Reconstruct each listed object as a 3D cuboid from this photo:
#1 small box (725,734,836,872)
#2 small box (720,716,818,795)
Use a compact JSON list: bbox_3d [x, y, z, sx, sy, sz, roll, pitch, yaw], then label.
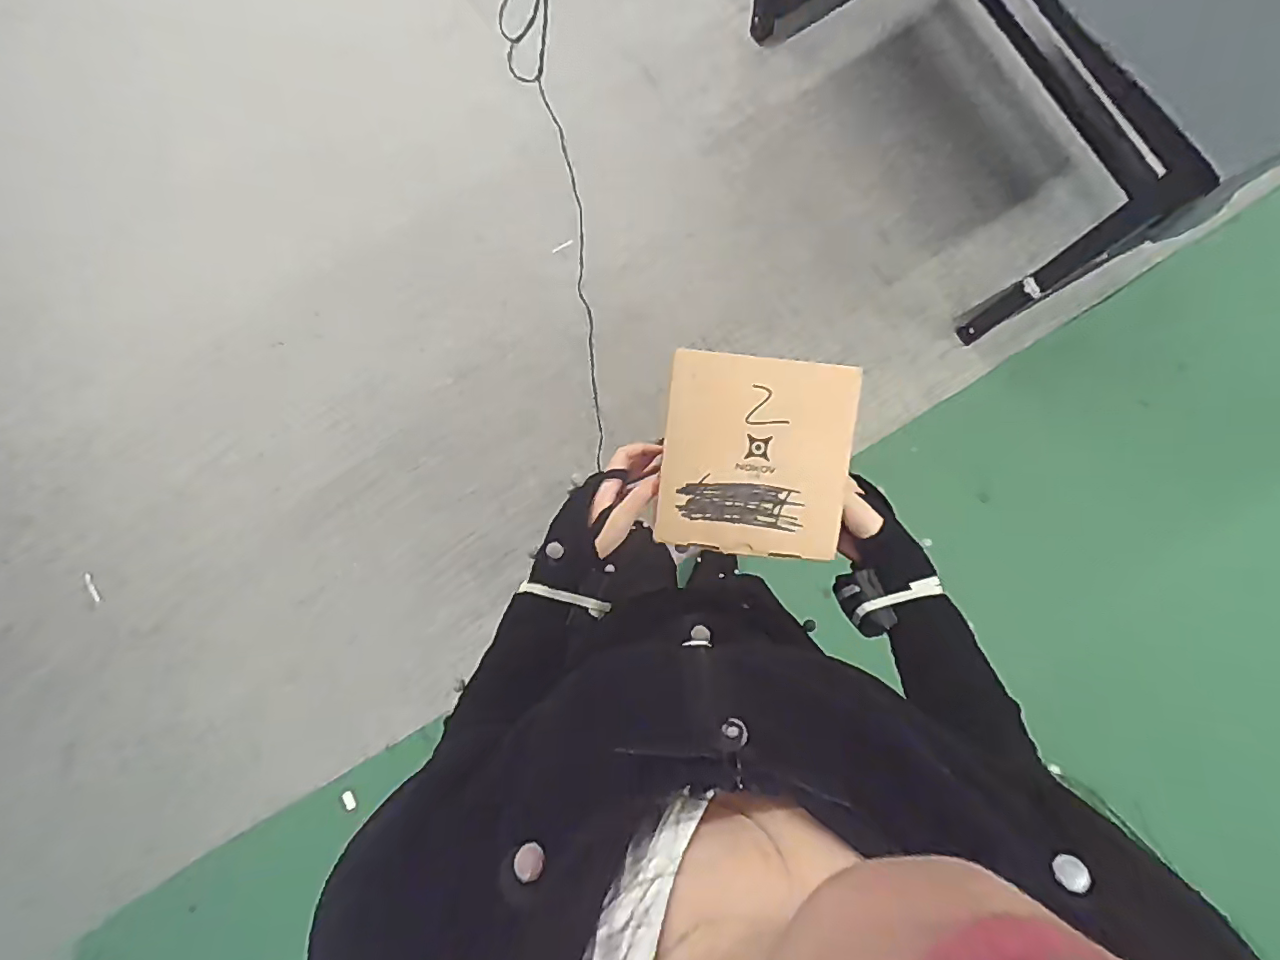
[{"bbox_3d":[0.303,0.707,1.203,0.168,0.176,0.179,-29,83,2],"label":"small box"},{"bbox_3d":[0.315,0.724,1.368,0.168,0.176,0.179,-31,83,1],"label":"small box"}]
